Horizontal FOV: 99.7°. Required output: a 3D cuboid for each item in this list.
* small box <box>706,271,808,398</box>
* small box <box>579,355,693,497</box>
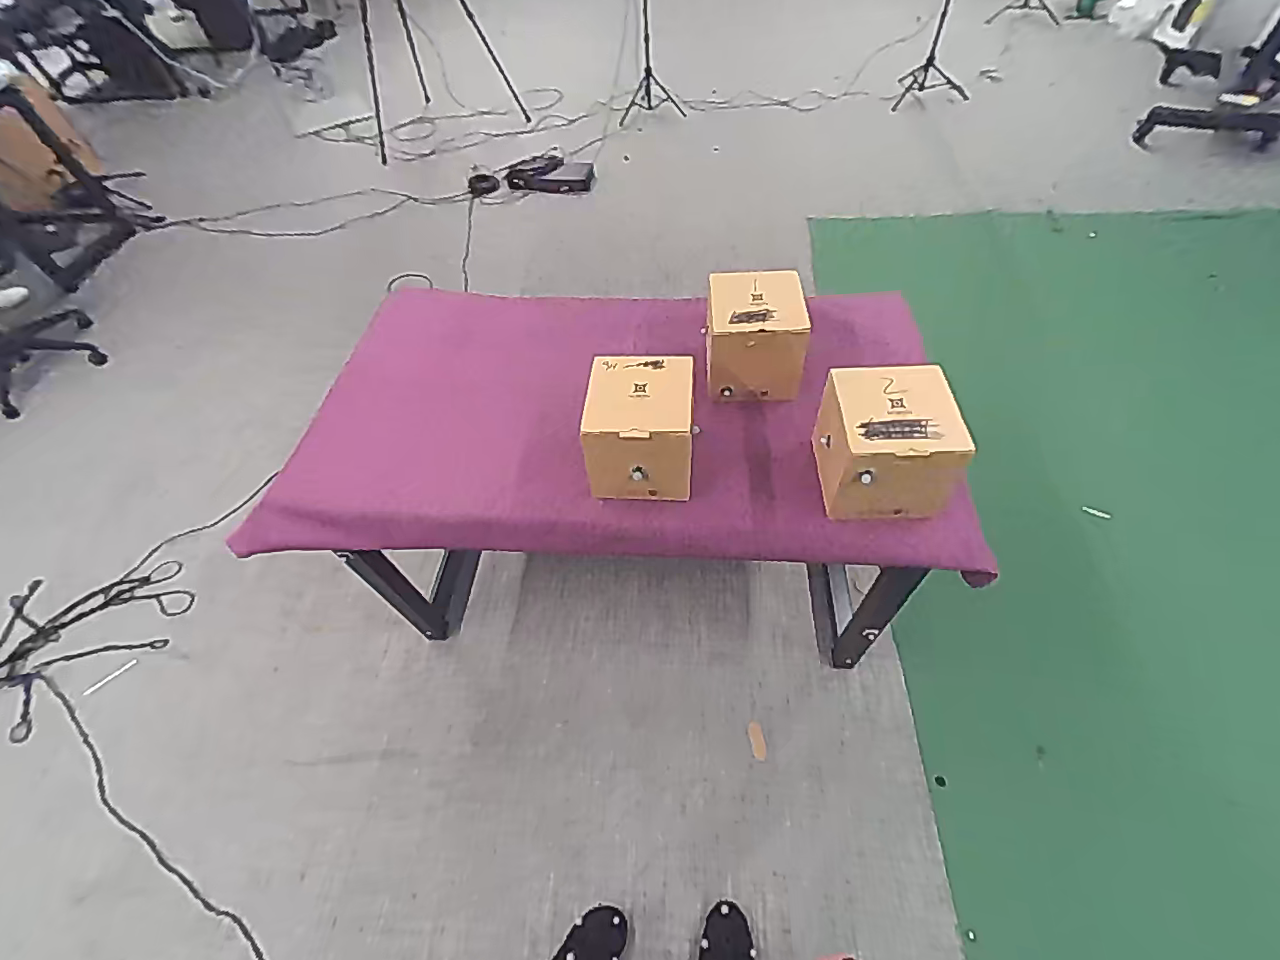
[{"bbox_3d":[0.211,-0.269,1.019,0.168,0.176,0.179,0,53,4],"label":"small box"},{"bbox_3d":[0.003,-0.087,0.899,0.168,0.176,0.179,2,53,6],"label":"small box"}]
